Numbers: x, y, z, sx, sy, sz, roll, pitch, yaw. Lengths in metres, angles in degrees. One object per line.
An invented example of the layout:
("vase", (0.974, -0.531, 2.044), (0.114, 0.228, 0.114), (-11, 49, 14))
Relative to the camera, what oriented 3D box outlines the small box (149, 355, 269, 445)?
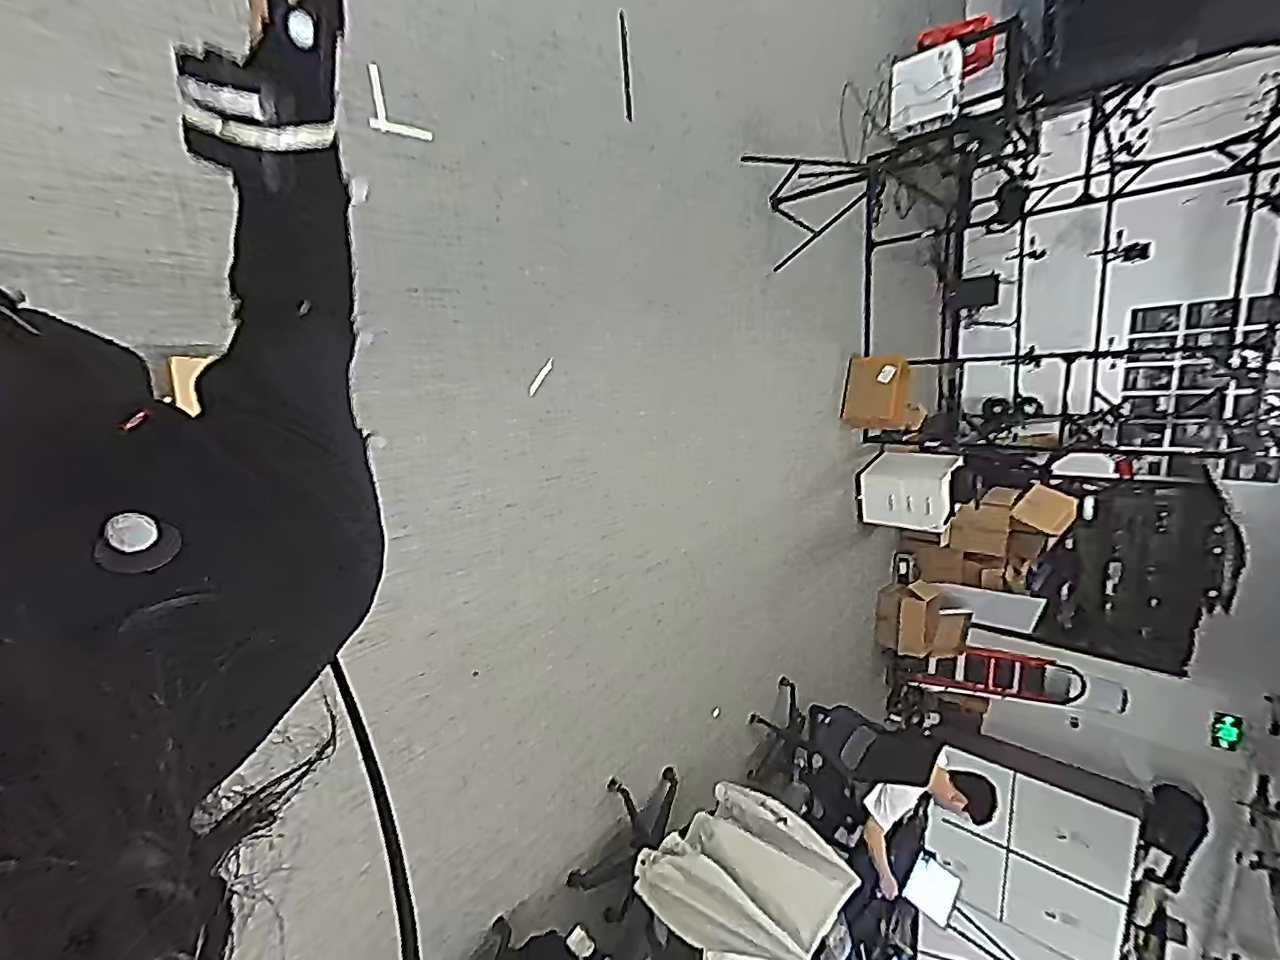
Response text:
("small box", (-0.920, -0.171, 1.155), (0.168, 0.176, 0.179), (-11, 104, -46))
